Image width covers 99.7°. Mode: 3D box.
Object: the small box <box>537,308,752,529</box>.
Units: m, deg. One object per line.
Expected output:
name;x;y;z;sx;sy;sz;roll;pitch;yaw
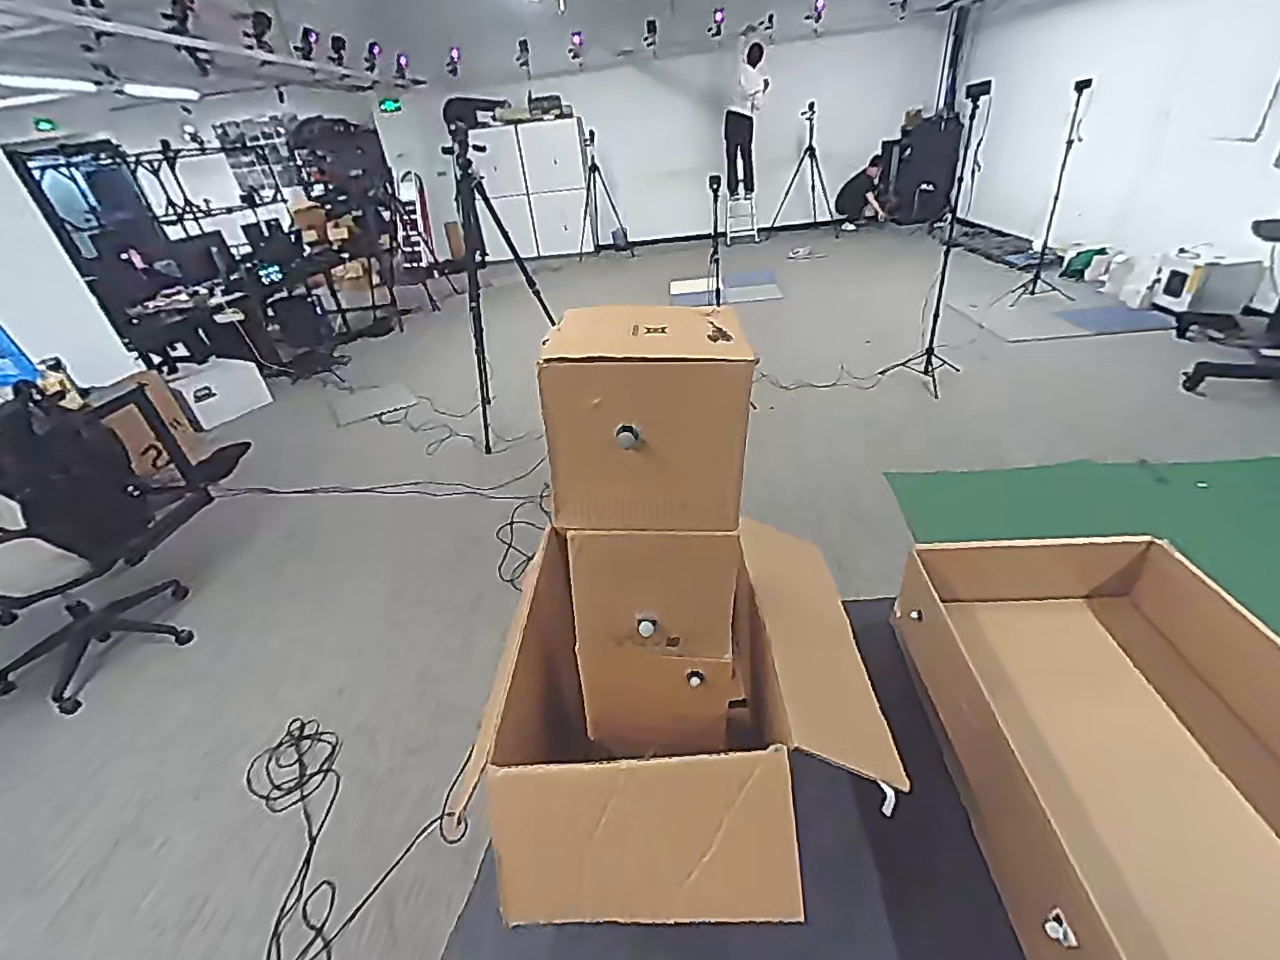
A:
small box;0.010;-0.063;0.535;0.179;0.176;0.168;0;32;3

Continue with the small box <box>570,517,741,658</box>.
small box;0.018;0.077;0.621;0.168;0.176;0.179;0;32;2
